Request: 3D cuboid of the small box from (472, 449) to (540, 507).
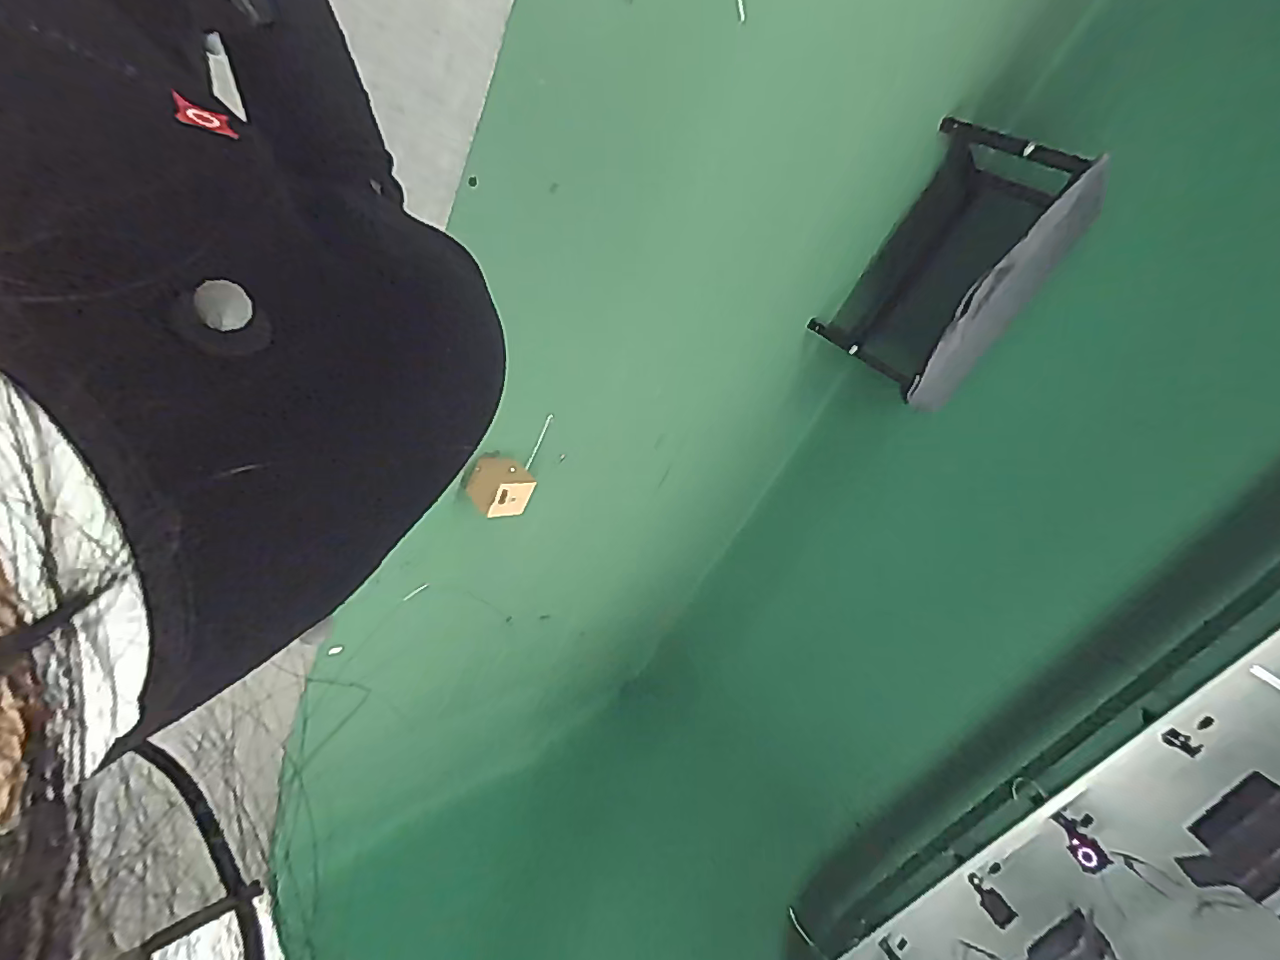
[{"bbox_3d":[-0.535,-0.011,2.139,0.179,0.176,0.168,-3,130,-52],"label":"small box"}]
